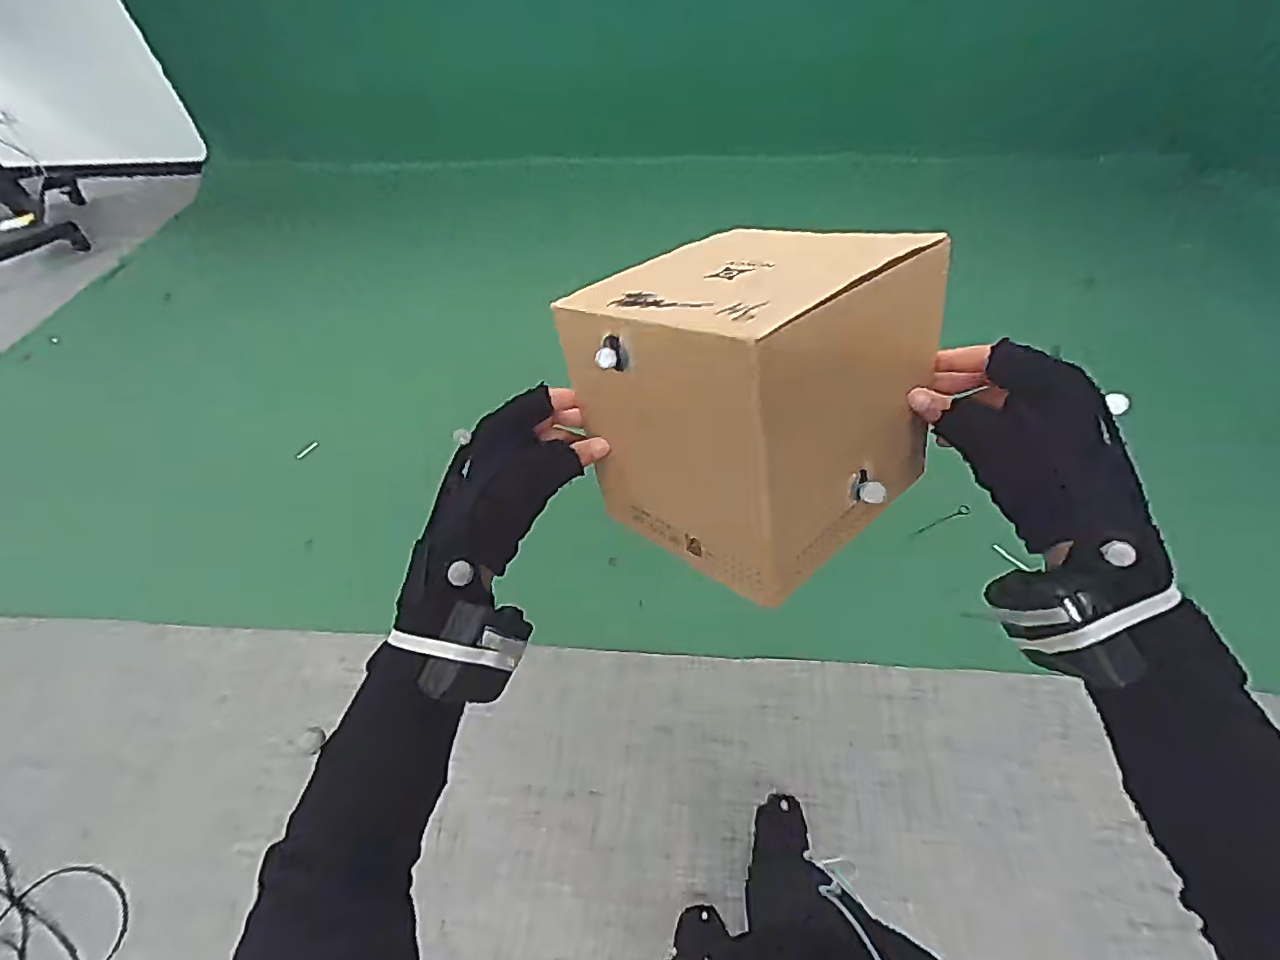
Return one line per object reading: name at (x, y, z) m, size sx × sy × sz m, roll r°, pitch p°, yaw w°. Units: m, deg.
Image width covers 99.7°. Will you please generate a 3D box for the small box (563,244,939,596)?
small box at (0.076, -0.056, 0.378) m, size 0.179 × 0.176 × 0.168 m, roll -31°, pitch 36°, yaw -29°
